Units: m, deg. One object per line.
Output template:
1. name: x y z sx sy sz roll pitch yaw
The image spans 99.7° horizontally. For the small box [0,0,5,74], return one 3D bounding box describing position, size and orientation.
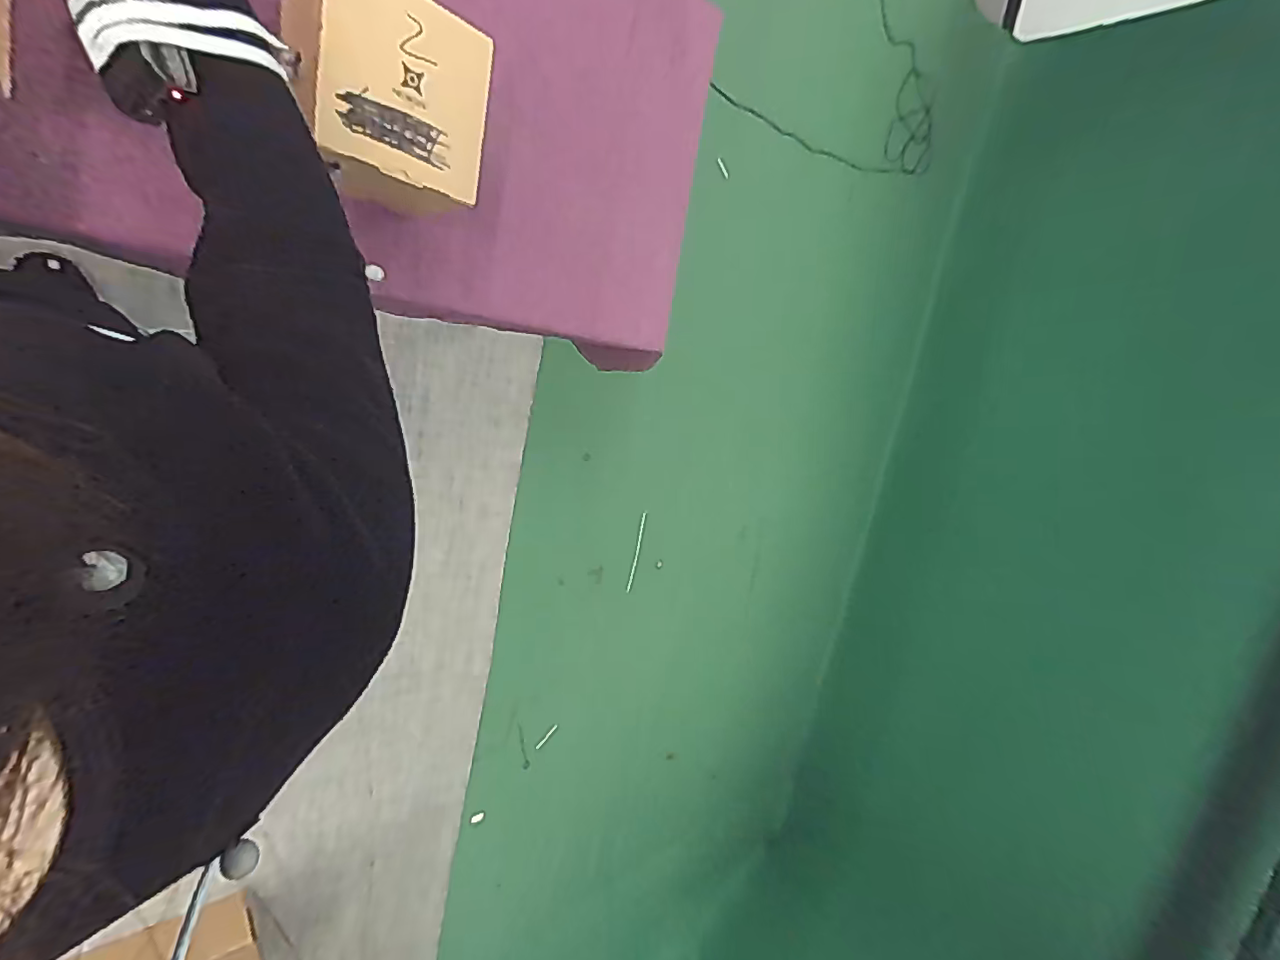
1. small box: -0.542 -0.401 0.348 0.168 0.176 0.179 1 105 -47
